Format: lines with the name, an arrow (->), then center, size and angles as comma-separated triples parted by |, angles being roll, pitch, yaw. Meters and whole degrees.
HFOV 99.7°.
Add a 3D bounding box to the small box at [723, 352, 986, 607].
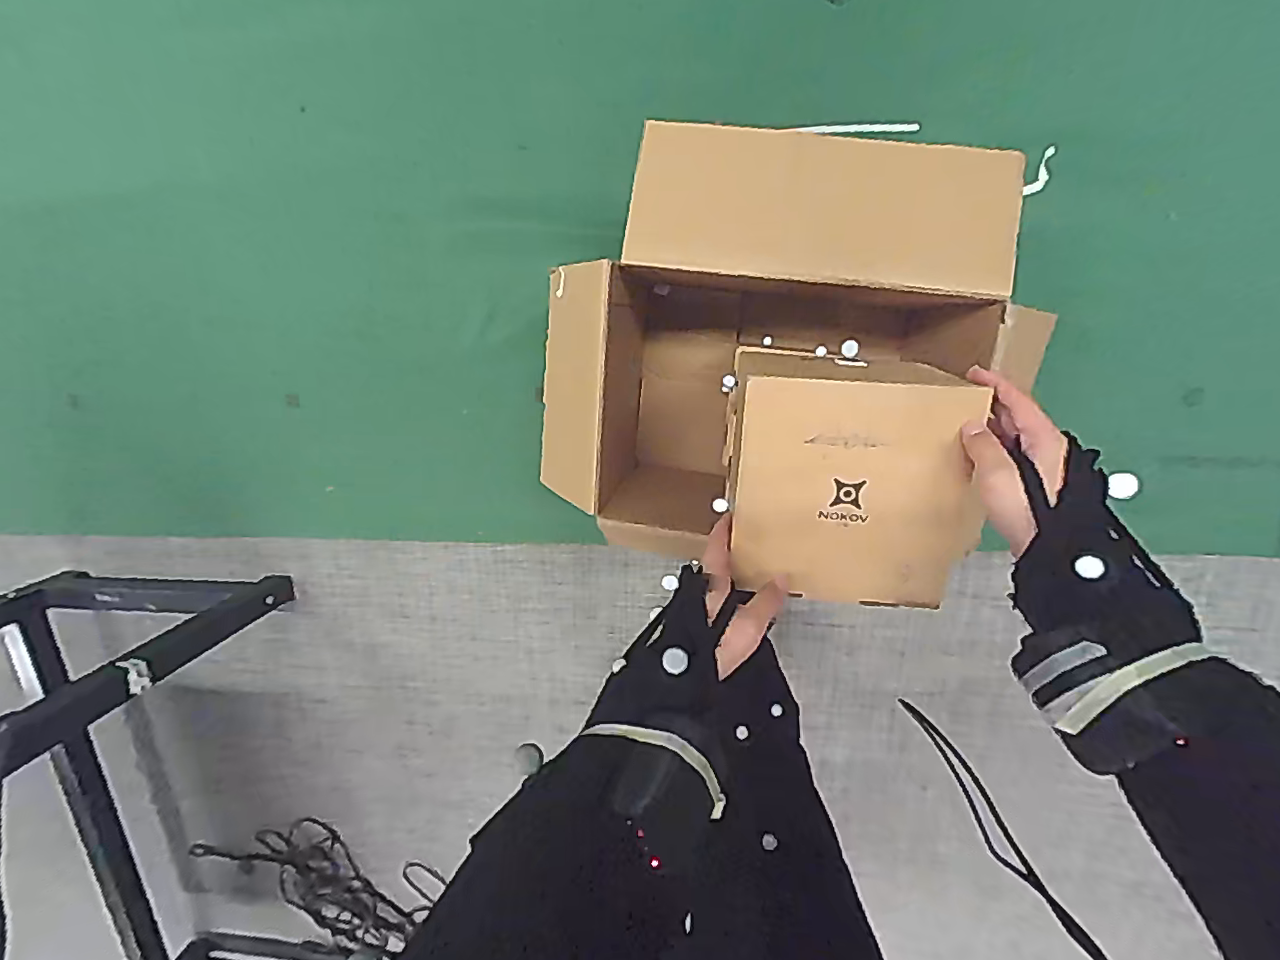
small box -> 0.163, -0.014, 0.475 | 0.168, 0.176, 0.179 | 4, 108, 7
